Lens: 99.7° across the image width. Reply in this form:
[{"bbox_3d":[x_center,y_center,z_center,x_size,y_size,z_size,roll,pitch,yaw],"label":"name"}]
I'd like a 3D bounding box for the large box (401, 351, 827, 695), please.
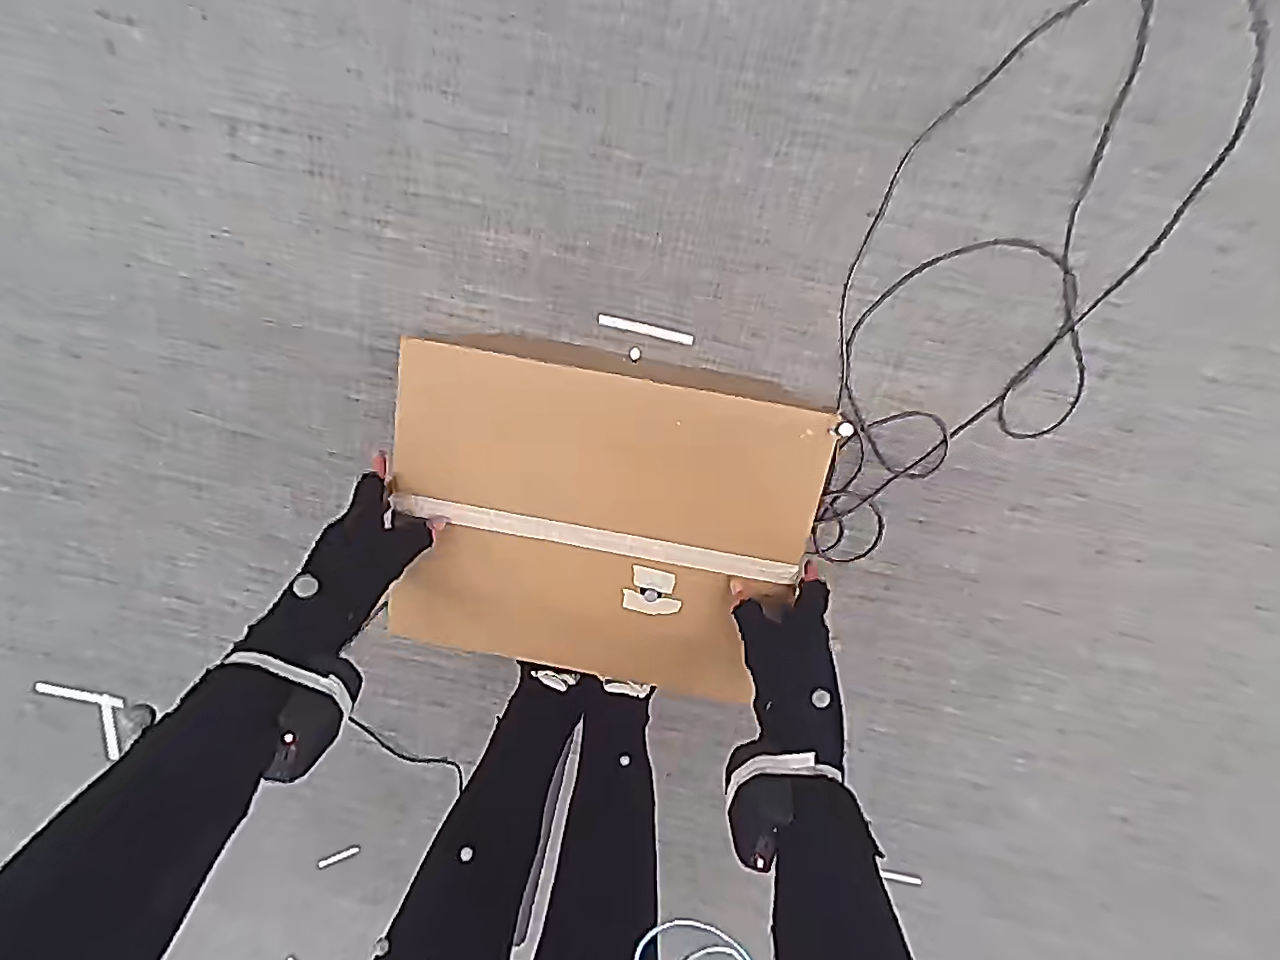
[{"bbox_3d":[-0.036,0.019,0.689,0.408,0.320,0.320,10,106,1],"label":"large box"}]
